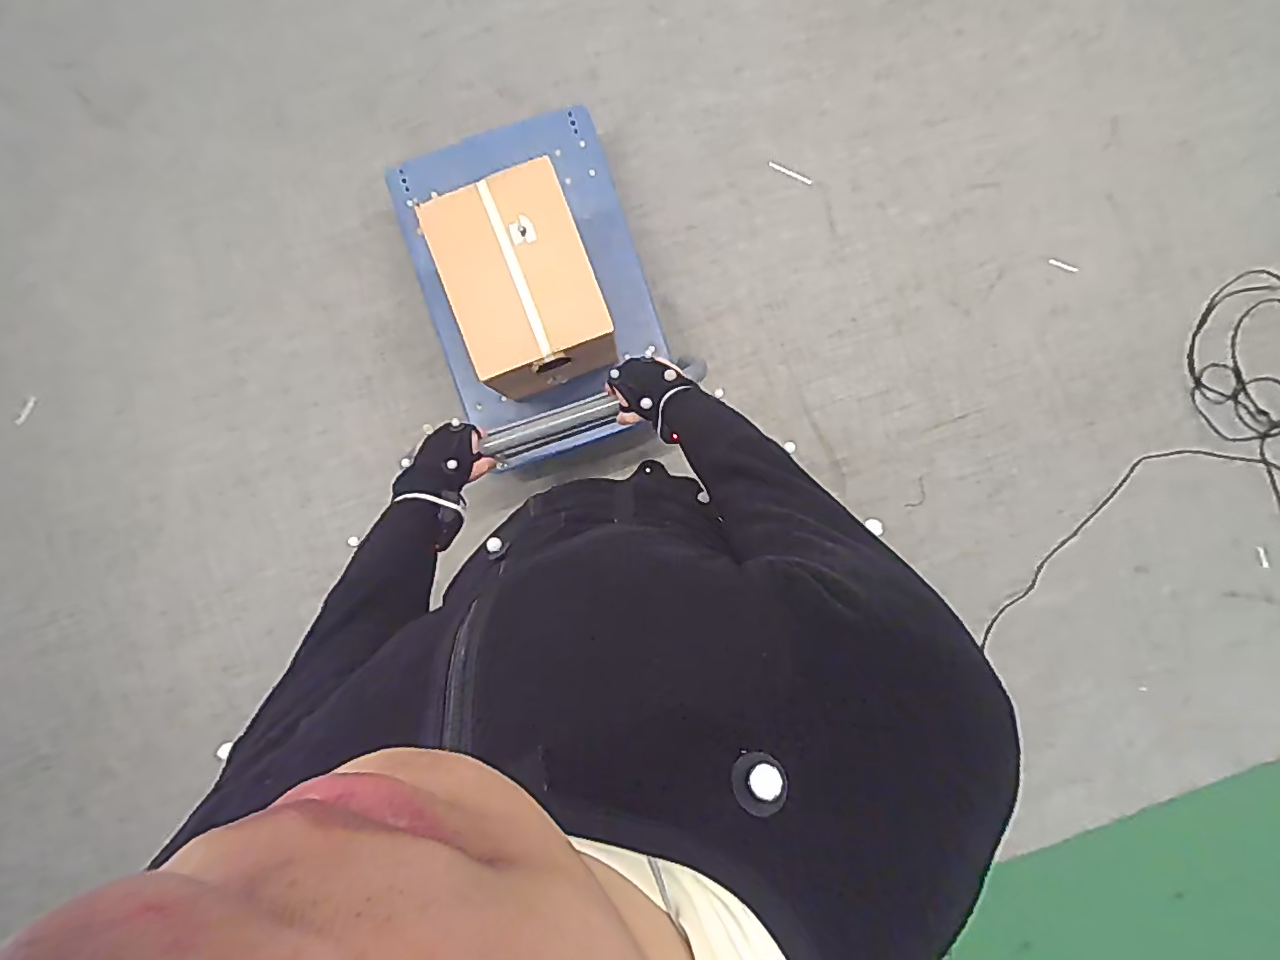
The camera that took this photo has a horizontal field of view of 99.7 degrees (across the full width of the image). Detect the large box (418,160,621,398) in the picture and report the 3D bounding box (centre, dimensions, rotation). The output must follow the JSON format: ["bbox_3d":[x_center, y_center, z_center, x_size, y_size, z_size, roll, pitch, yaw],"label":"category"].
[{"bbox_3d":[-0.265,-0.457,1.318,0.320,0.320,0.408,-21,91,0],"label":"large box"}]
